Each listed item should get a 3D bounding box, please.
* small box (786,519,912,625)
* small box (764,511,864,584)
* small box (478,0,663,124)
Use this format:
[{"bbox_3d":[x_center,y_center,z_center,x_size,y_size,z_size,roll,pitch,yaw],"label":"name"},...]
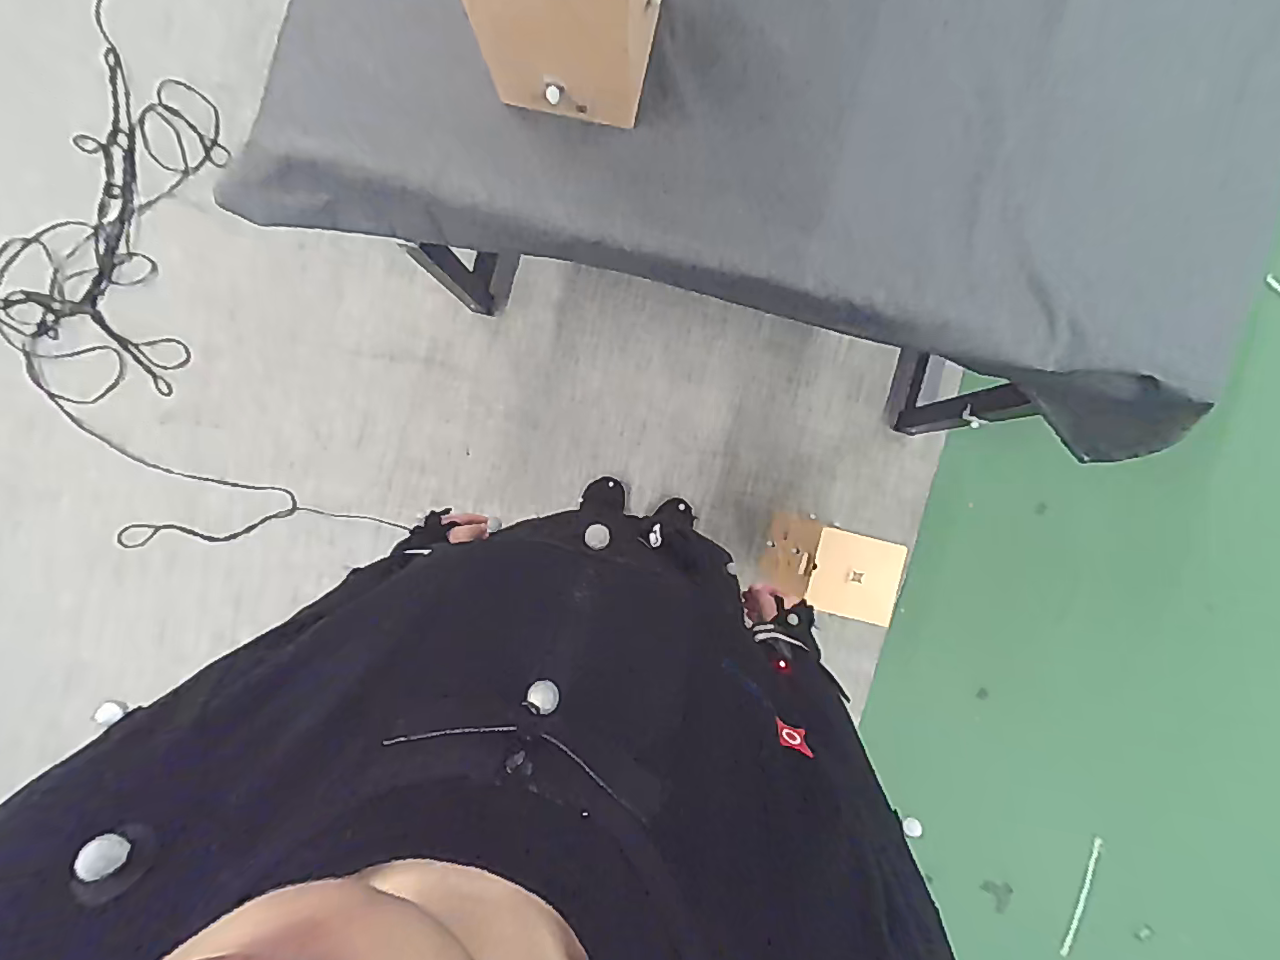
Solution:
[{"bbox_3d":[0.426,0.182,1.128,0.179,0.176,0.168,13,91,1],"label":"small box"},{"bbox_3d":[0.411,0.174,1.293,0.179,0.176,0.168,15,90,1],"label":"small box"},{"bbox_3d":[-0.067,-0.526,0.570,0.168,0.176,0.179,12,91,1],"label":"small box"}]
